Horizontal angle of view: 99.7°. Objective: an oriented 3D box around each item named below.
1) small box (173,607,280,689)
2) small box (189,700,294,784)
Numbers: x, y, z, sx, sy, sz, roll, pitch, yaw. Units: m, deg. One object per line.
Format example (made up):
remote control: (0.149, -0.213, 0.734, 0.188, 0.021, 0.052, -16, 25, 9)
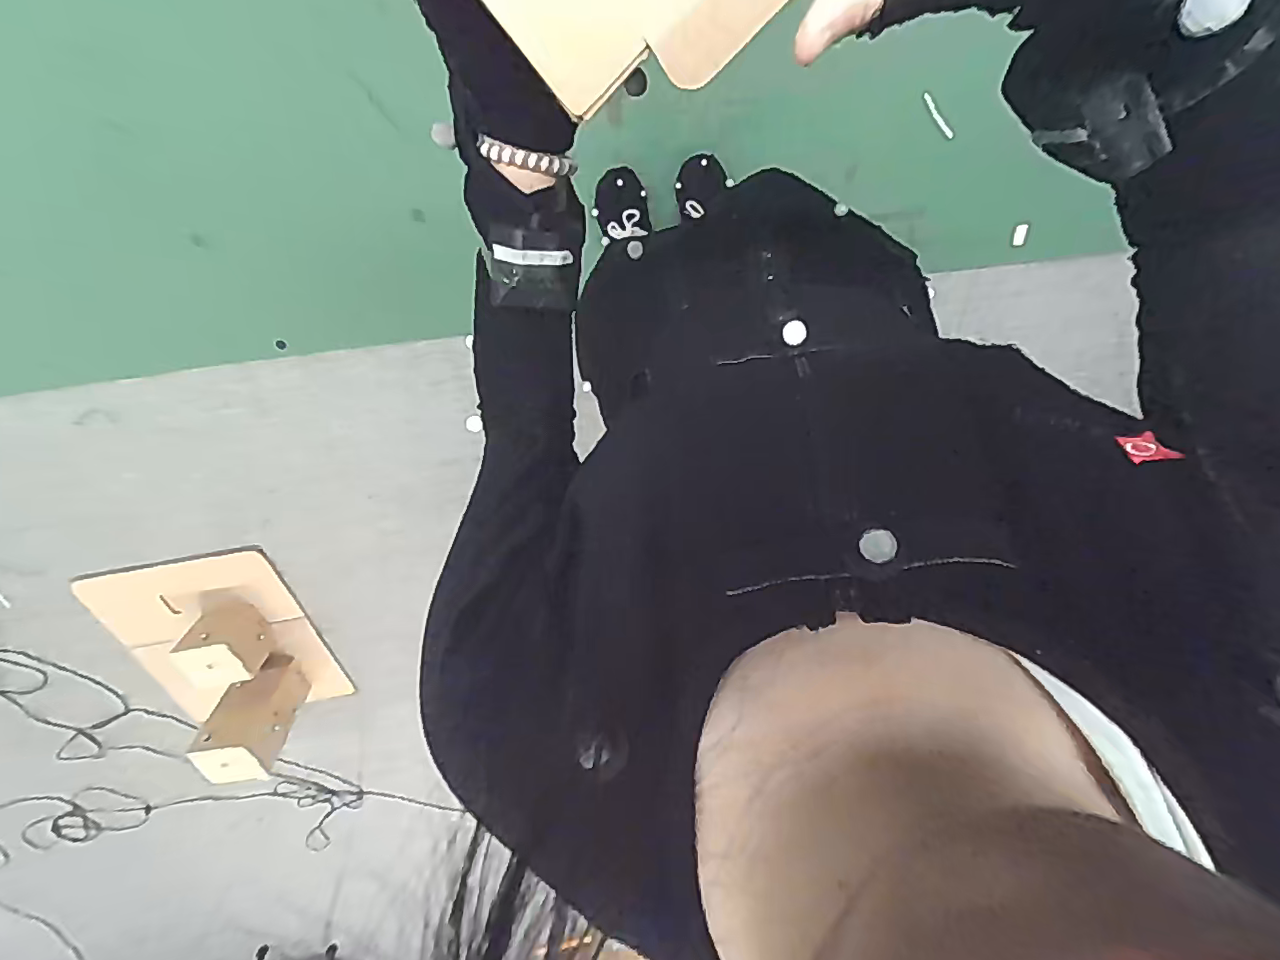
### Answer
small box: (-1.302, 0.529, 1.716, 0.179, 0.176, 0.168, -12, 121, 1)
small box: (-1.242, 0.820, 1.700, 0.179, 0.176, 0.168, -8, 122, -1)
